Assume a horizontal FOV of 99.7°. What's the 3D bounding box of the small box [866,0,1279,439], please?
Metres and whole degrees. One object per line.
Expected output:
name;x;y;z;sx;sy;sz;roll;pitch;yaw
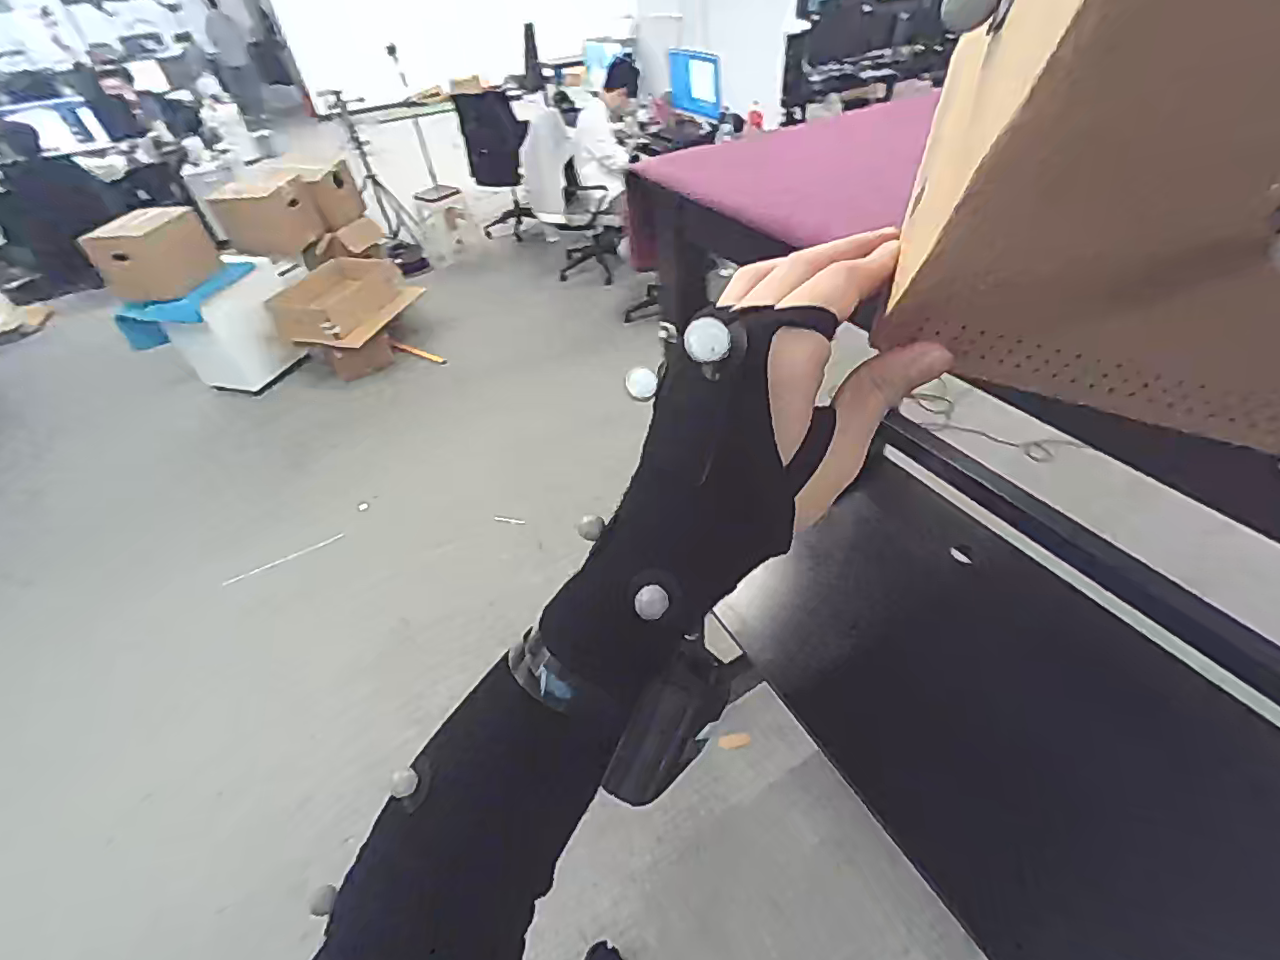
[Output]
small box;0.186;-0.127;0.154;0.179;0.176;0.168;17;77;11
